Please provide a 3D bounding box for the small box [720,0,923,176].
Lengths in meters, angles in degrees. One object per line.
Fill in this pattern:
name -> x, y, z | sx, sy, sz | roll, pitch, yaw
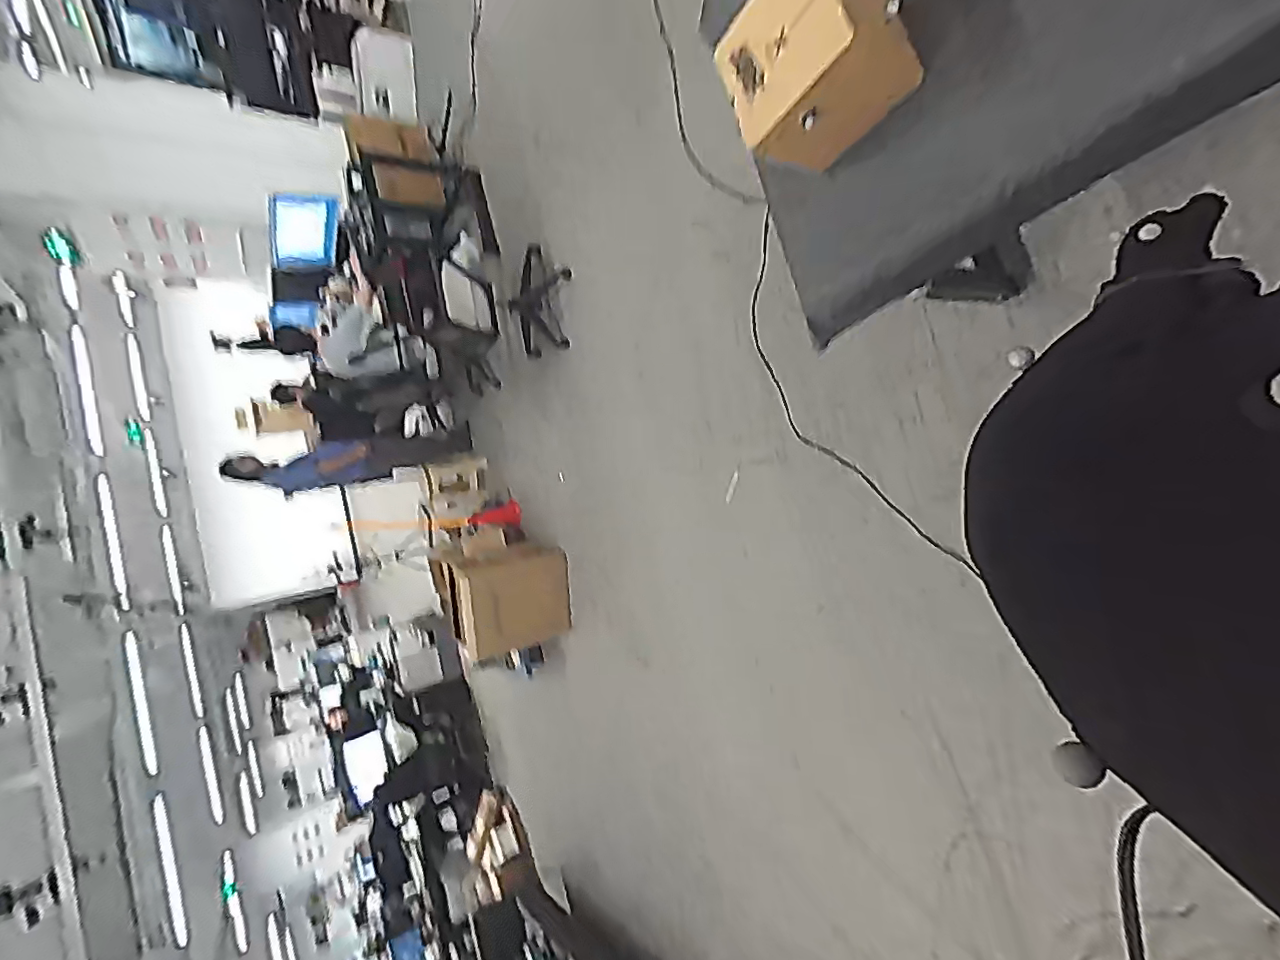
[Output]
small box -> 0.245, -0.555, 0.744 | 0.179, 0.176, 0.168 | -28, 76, 53
